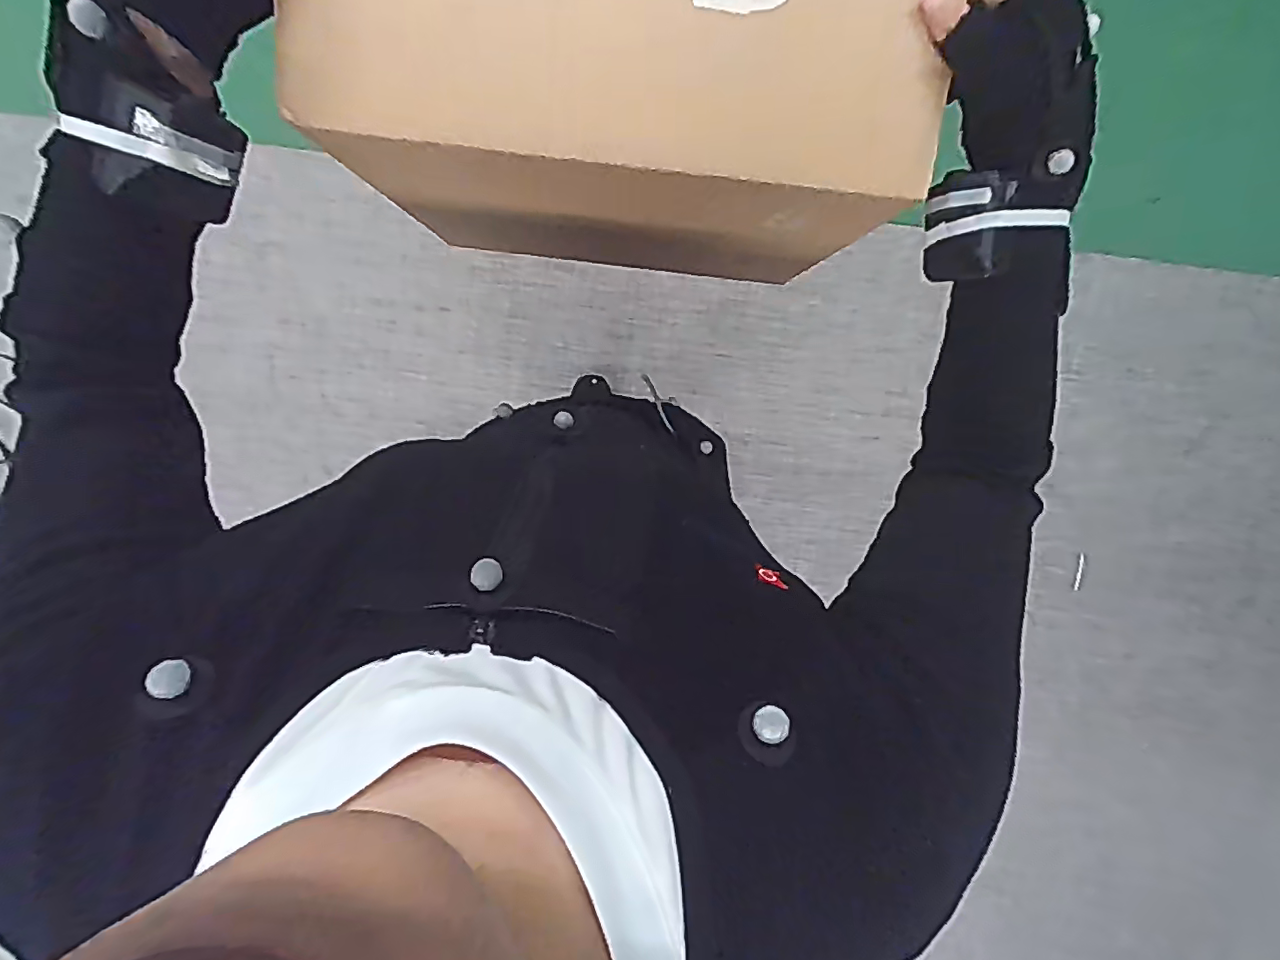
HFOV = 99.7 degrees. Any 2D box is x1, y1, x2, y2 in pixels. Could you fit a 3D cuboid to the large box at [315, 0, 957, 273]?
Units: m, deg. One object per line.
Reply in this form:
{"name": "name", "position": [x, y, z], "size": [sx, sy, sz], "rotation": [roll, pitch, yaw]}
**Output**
{"name": "large box", "position": [0.001, -0.384, 0.470], "size": [0.408, 0.320, 0.320], "rotation": [5, 101, -2]}
